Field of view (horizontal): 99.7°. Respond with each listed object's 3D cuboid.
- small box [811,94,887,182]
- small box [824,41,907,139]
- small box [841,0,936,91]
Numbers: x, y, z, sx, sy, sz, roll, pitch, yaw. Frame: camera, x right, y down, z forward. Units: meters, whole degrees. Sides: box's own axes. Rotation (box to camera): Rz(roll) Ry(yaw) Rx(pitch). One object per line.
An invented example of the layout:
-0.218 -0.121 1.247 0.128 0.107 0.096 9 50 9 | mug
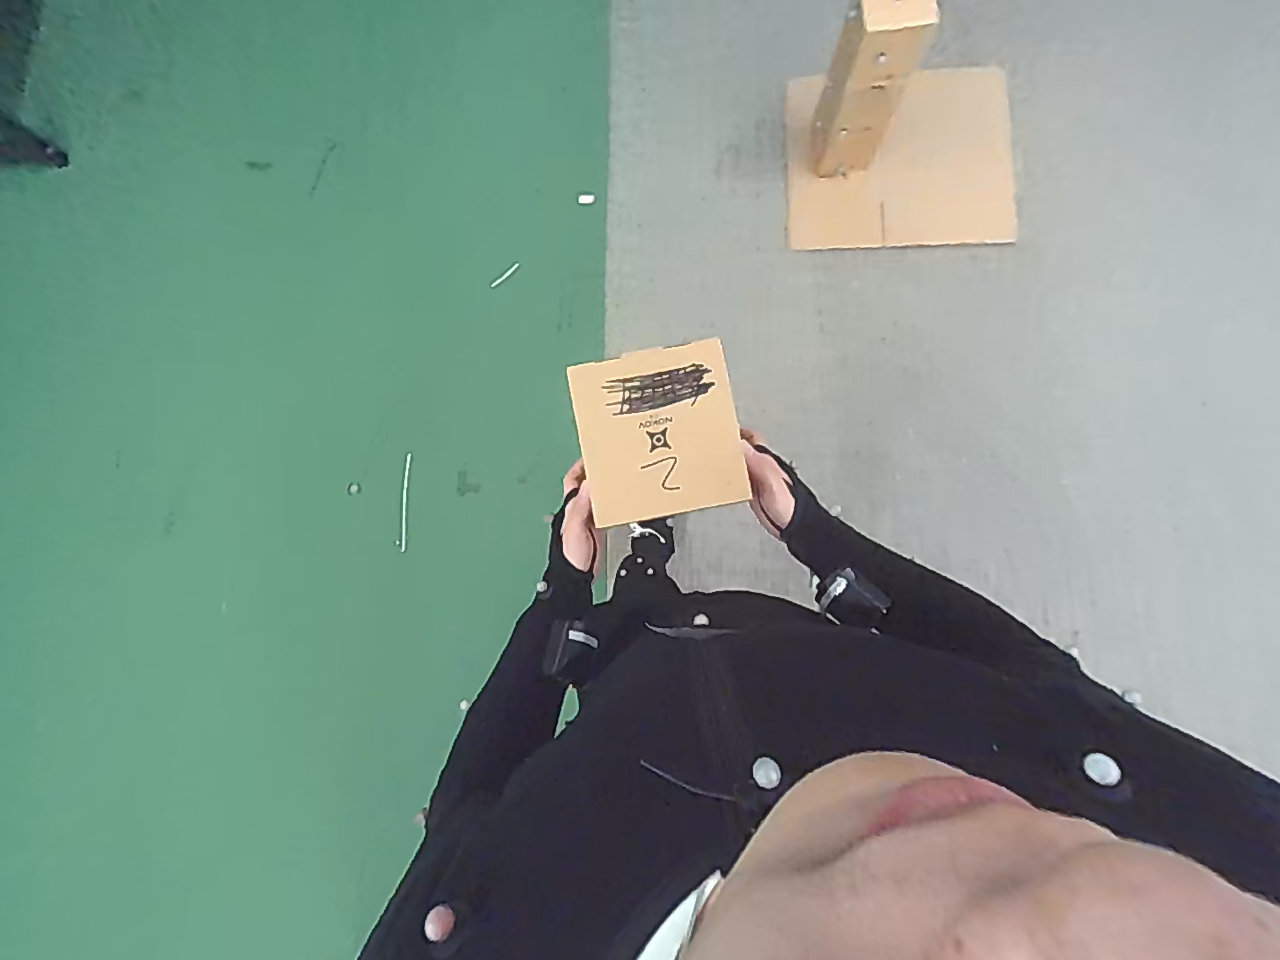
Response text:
0.637 -1.062 1.667 0.168 0.176 0.179 -7 82 5 | small box
0.622 -1.085 1.506 0.168 0.176 0.179 -4 81 5 | small box
0.611 -1.109 1.346 0.168 0.176 0.179 -4 81 5 | small box
